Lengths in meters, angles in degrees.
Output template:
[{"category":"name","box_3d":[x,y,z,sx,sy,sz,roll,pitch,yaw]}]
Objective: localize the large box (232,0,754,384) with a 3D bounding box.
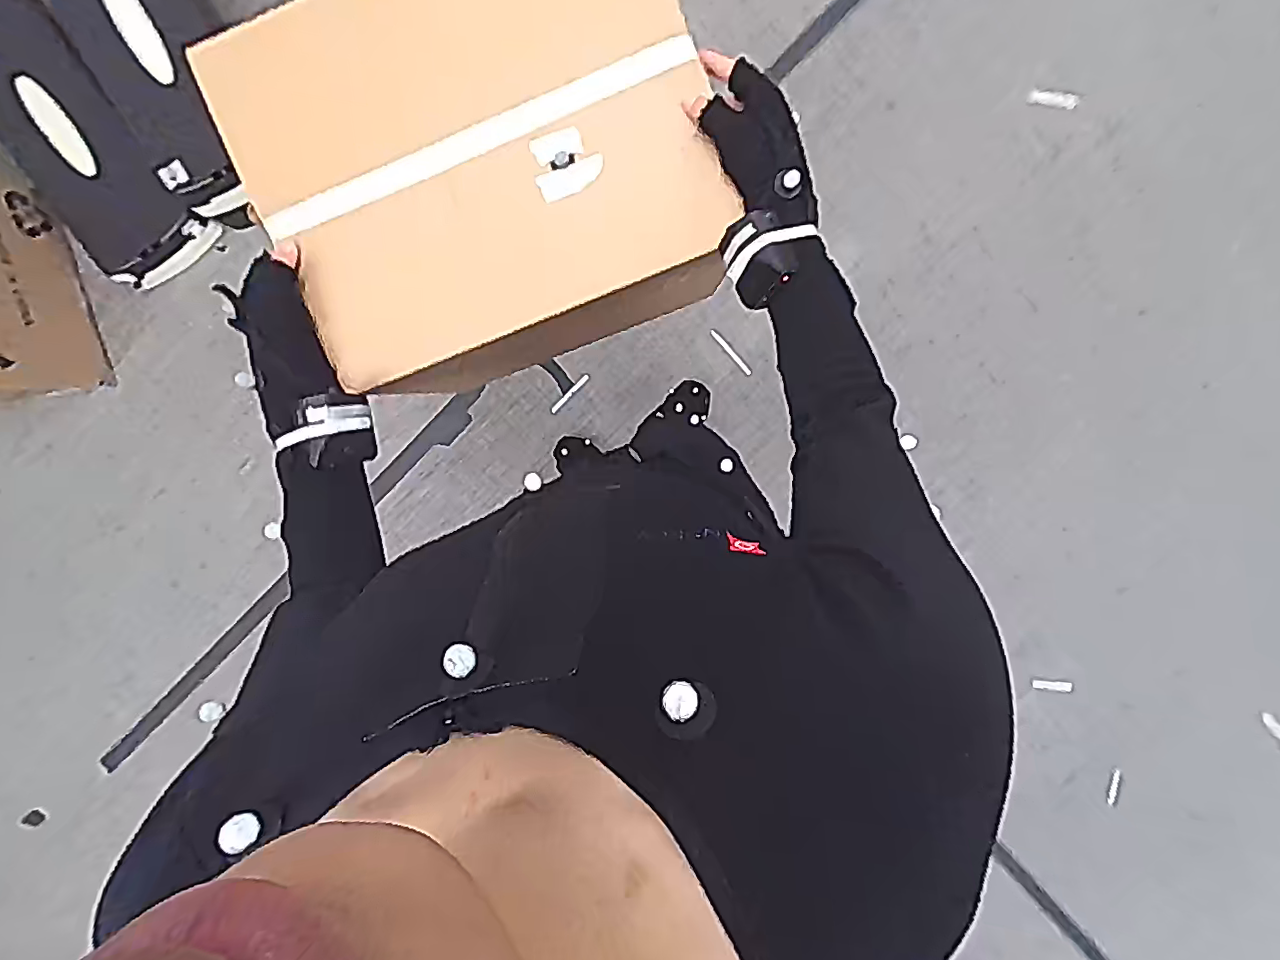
[{"category":"large box","box_3d":[-0.130,-0.328,0.636,0.408,0.320,0.320,-20,99,3]}]
